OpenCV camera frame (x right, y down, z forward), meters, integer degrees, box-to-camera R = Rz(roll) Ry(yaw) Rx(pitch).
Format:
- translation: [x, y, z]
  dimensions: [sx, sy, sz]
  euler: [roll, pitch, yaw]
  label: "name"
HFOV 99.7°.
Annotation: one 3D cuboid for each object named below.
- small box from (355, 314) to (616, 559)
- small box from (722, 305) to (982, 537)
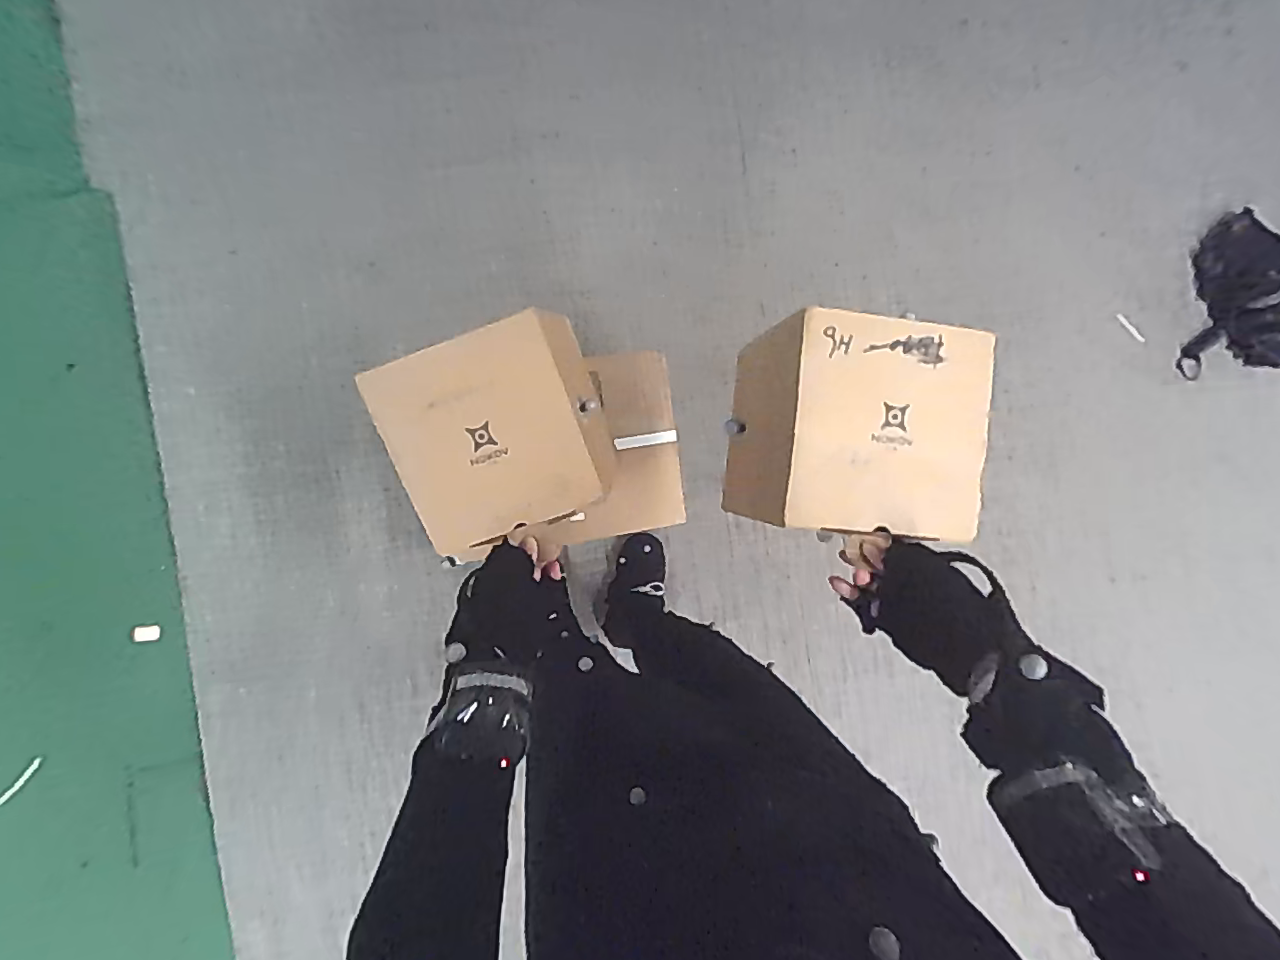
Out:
- translation: [-0.130, -0.052, 0.537]
  dimensions: [0.168, 0.176, 0.179]
  euler: [-20, 103, 6]
  label: "small box"
- translation: [0.183, -0.049, 0.517]
  dimensions: [0.168, 0.176, 0.179]
  euler: [5, 91, -8]
  label: "small box"
